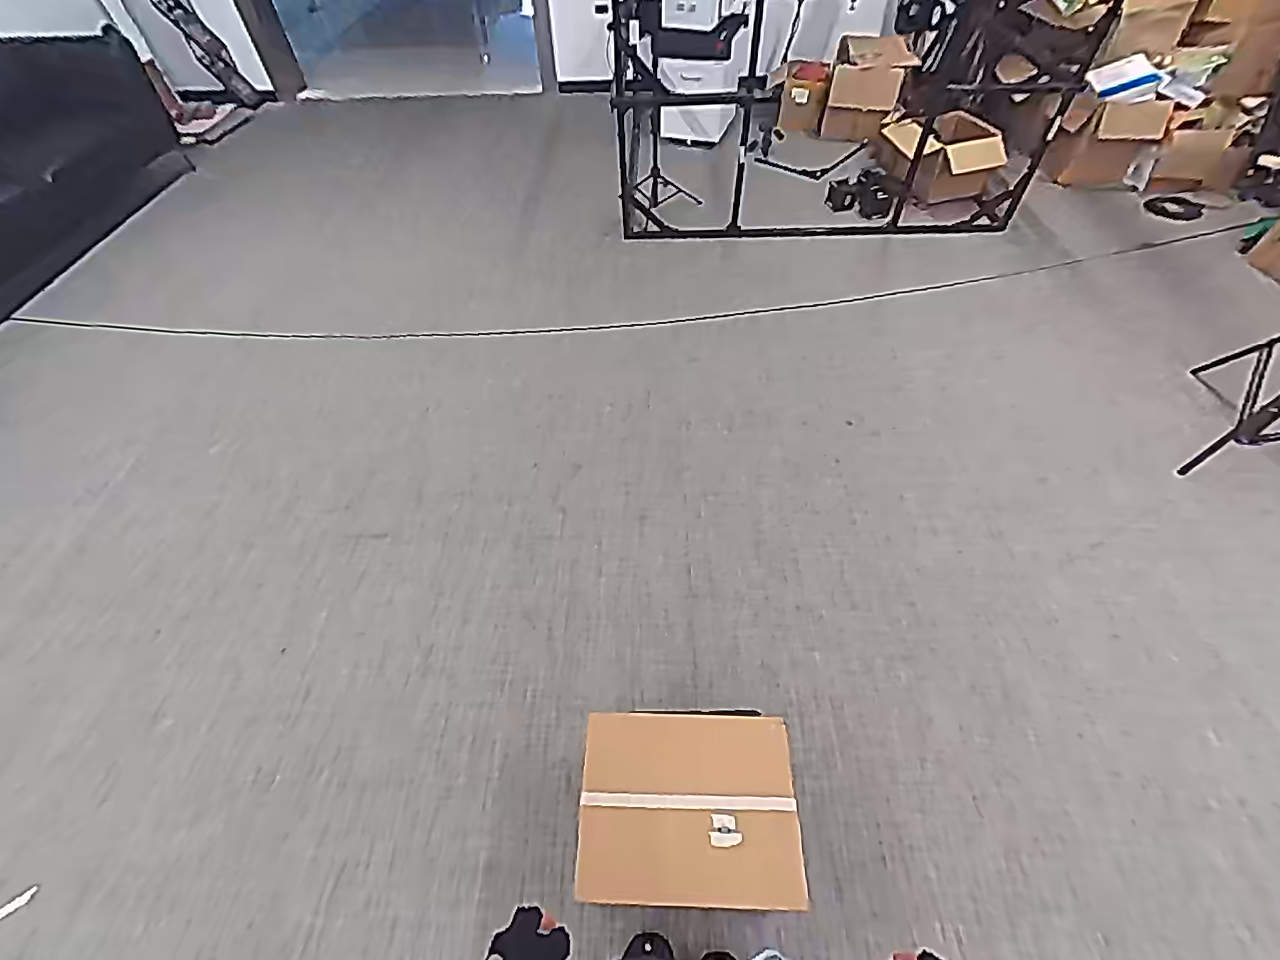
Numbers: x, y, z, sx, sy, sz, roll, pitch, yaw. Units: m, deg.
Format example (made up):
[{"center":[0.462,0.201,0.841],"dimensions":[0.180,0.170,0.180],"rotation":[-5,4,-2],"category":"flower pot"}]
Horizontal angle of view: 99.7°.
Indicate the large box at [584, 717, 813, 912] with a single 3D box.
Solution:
[{"center":[0.105,0.707,1.137],"dimensions":[0.408,0.320,0.320],"rotation":[1,52,2],"category":"large box"}]
